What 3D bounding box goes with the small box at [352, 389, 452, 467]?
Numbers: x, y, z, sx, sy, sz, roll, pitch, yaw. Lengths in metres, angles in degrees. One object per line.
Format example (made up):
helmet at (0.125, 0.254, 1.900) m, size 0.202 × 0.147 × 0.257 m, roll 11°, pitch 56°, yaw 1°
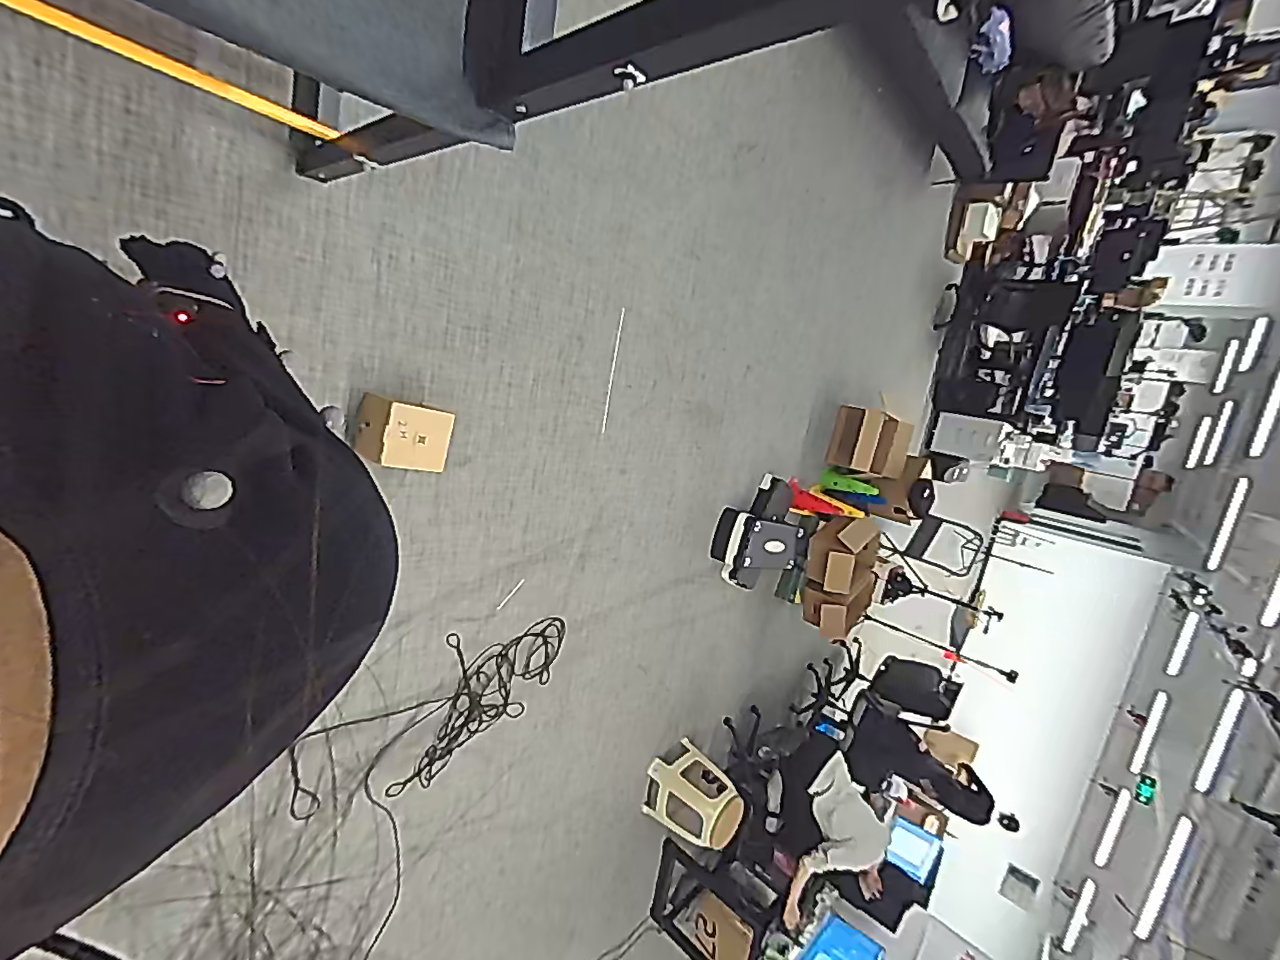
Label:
small box at (-0.643, -0.141, 1.456) m, size 0.179 × 0.176 × 0.168 m, roll 9°, pitch 98°, yaw -49°
